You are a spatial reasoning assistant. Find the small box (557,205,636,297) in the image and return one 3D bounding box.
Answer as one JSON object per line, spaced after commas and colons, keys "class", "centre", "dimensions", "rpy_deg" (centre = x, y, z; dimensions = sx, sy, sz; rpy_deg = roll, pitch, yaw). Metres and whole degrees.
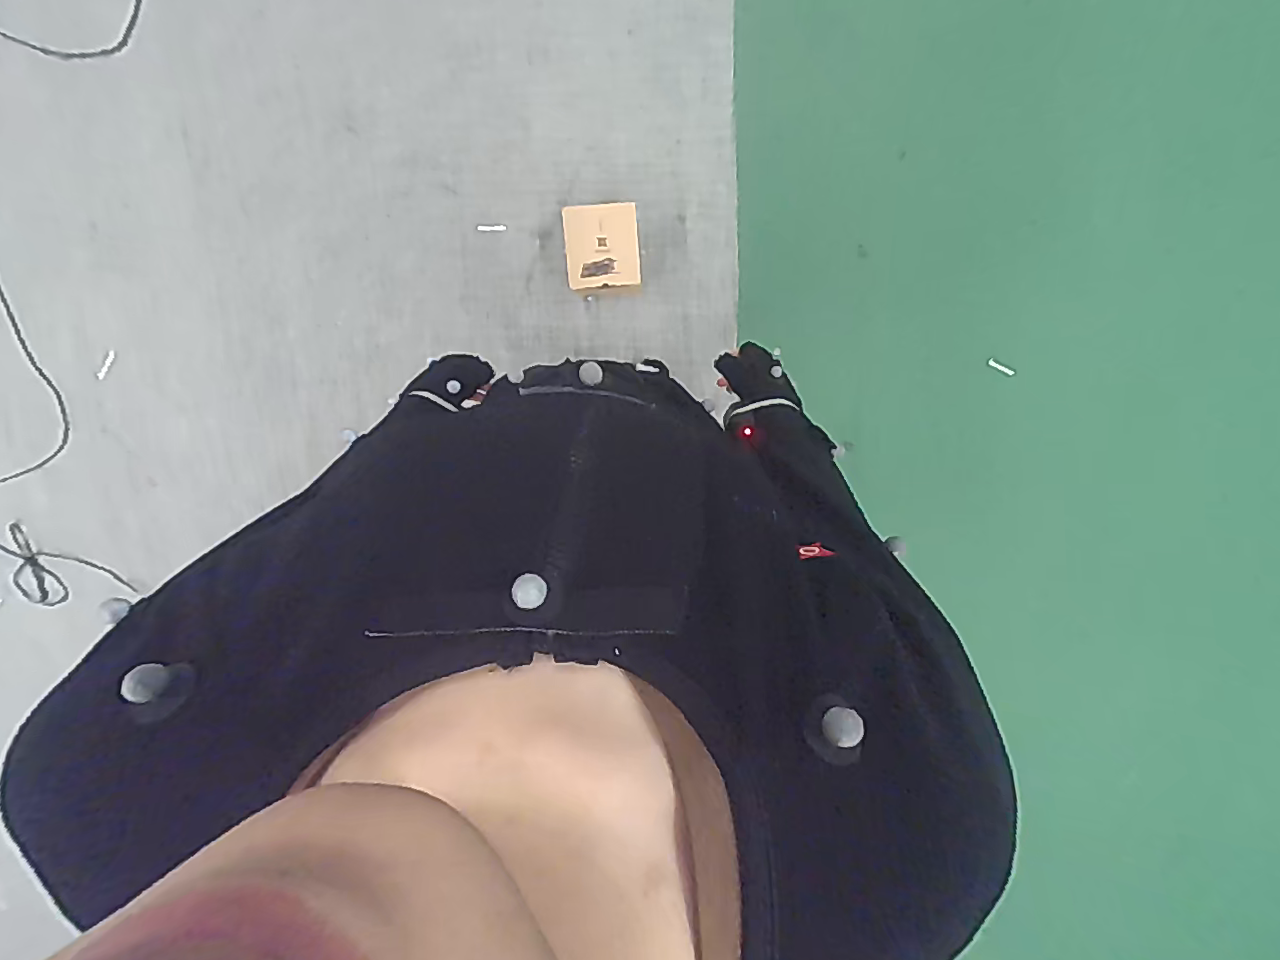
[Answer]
{"class": "small box", "centre": [-0.096, -0.534, 1.284], "dimensions": [0.168, 0.176, 0.179], "rpy_deg": [-4, 103, 1]}
